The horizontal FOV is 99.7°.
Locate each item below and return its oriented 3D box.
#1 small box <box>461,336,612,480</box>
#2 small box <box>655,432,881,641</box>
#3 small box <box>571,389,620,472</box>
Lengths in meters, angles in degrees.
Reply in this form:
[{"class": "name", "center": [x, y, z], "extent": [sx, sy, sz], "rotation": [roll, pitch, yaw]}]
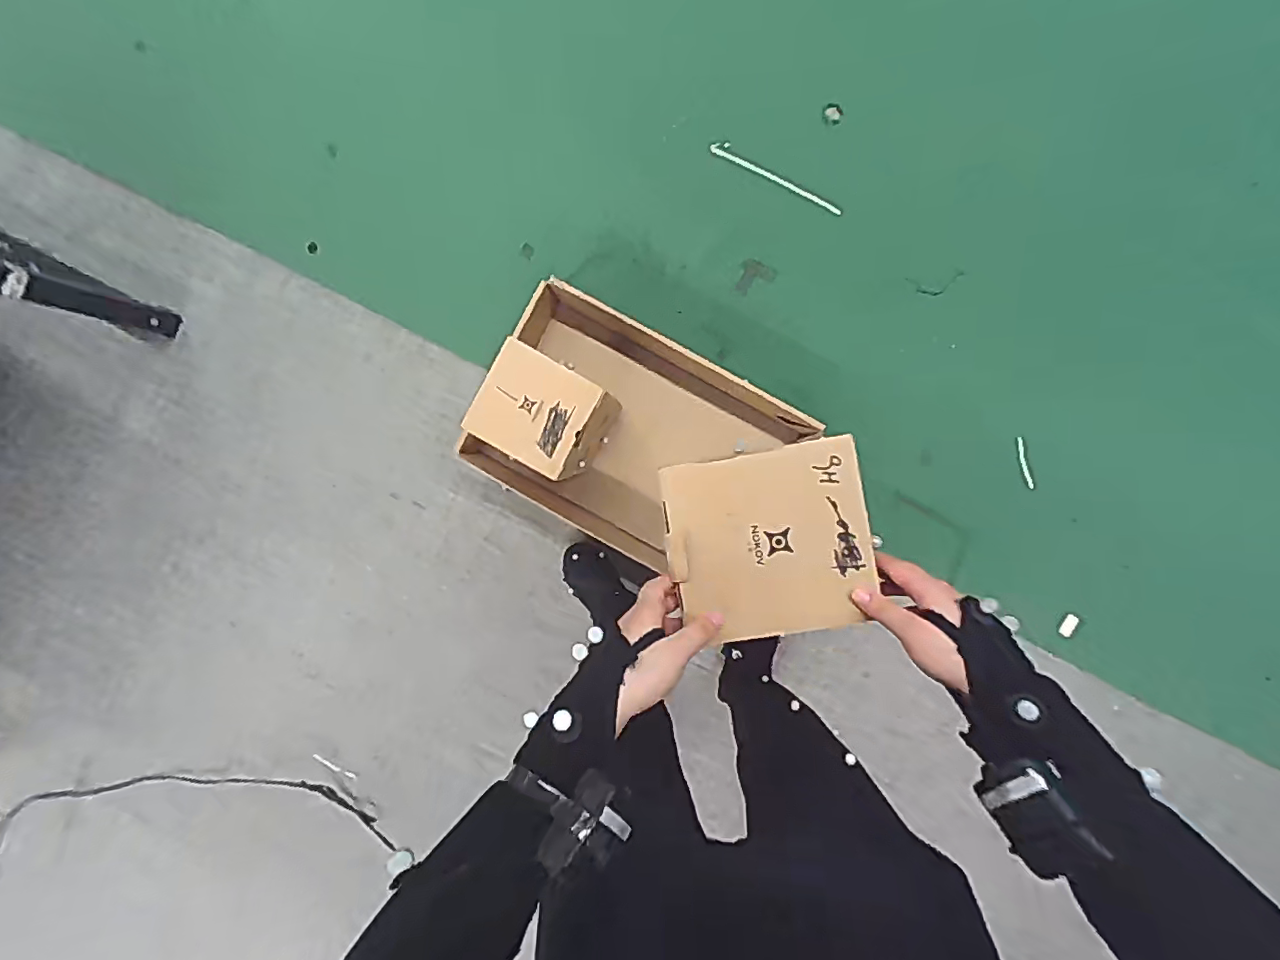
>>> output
[{"class": "small box", "center": [-0.161, -0.116, 0.913], "extent": [0.179, 0.176, 0.168], "rotation": [30, 93, 1]}, {"class": "small box", "center": [0.121, 0.052, 0.557], "extent": [0.179, 0.176, 0.168], "rotation": [-11, 89, 7]}, {"class": "small box", "center": [-0.154, -0.128, 1.076], "extent": [0.179, 0.176, 0.168], "rotation": [29, 94, -1]}]
